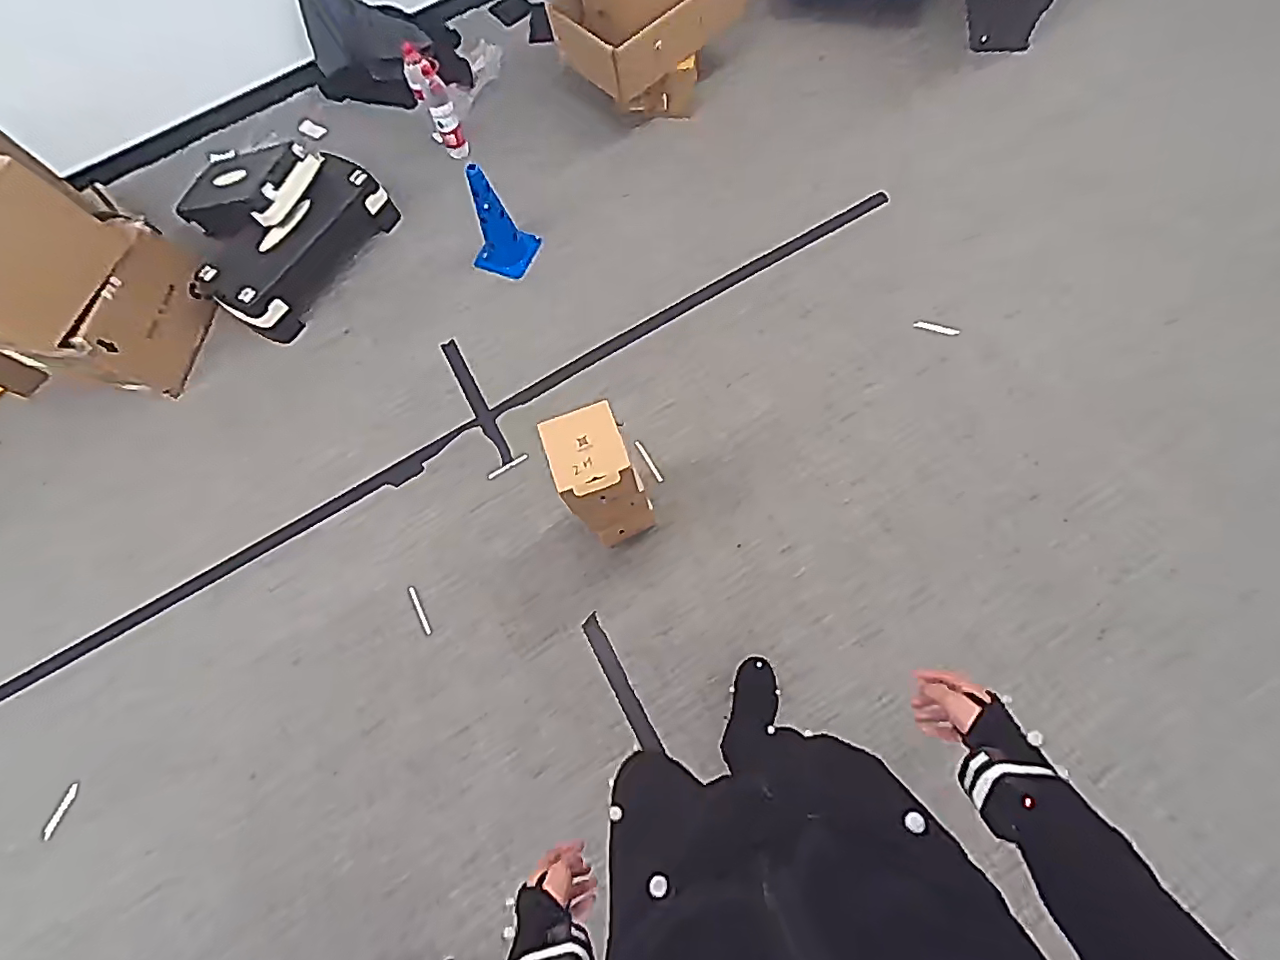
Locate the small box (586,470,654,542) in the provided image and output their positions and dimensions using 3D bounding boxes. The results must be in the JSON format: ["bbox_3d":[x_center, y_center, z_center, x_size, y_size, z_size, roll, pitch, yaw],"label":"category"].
[{"bbox_3d":[-0.068,0.063,1.540,0.168,0.176,0.179,-26,70,-4],"label":"small box"}]

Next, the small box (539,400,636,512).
[{"bbox_3d":[-0.115,-0.049,1.233,0.168,0.176,0.179,-20,70,-2],"label":"small box"}]
